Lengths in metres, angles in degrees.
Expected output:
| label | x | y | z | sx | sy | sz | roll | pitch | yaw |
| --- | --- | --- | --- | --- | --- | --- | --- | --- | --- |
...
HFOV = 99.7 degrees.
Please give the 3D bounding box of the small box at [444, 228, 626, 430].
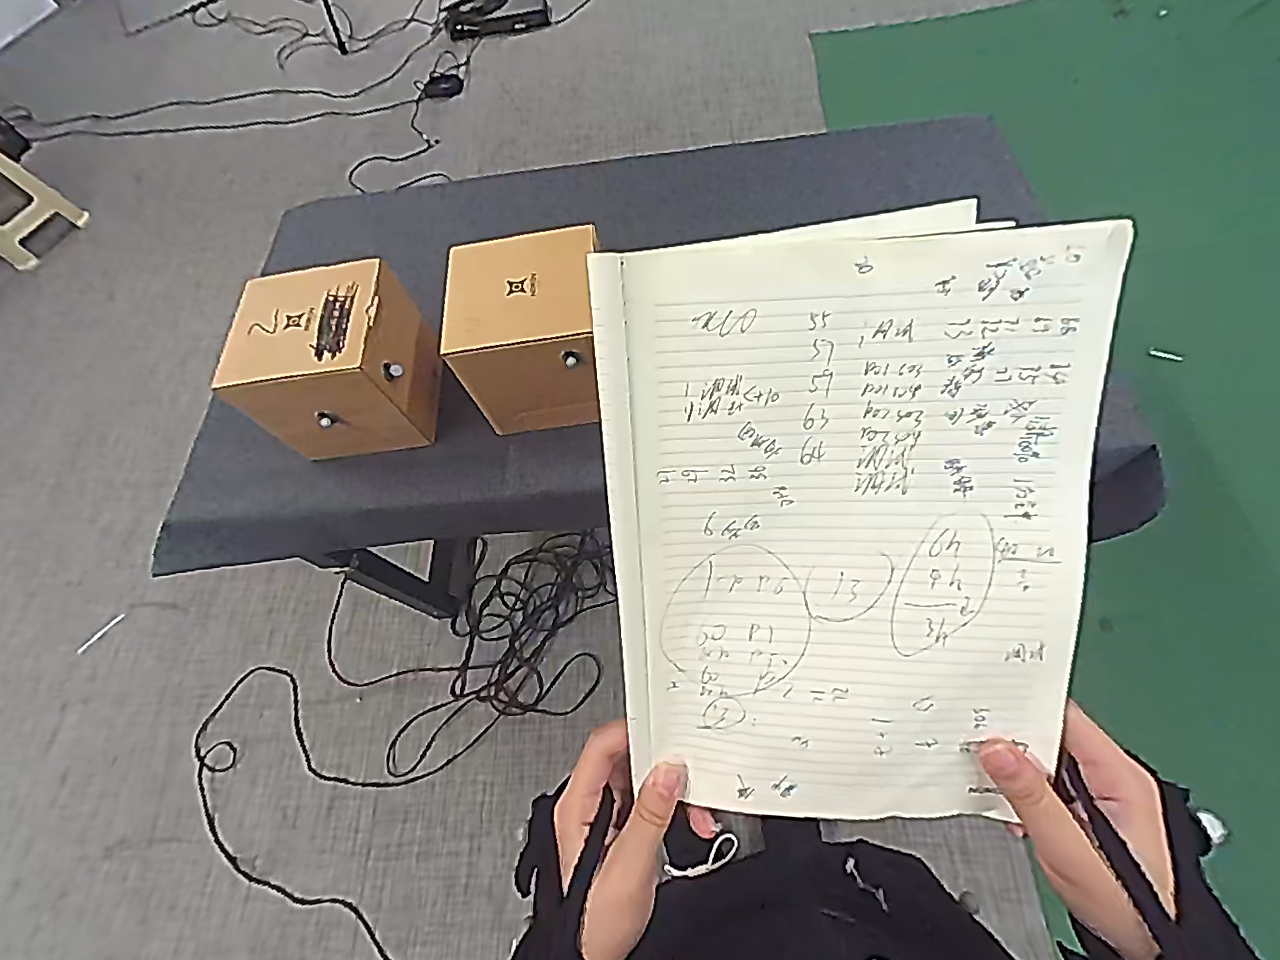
| label | x | y | z | sx | sy | sz | roll | pitch | yaw |
| --- | --- | --- | --- | --- | --- | --- | --- | --- | --- |
| small box | -0.119 | -0.177 | 0.674 | 0.179 | 0.176 | 0.168 | -8 | 63 | 4 |
